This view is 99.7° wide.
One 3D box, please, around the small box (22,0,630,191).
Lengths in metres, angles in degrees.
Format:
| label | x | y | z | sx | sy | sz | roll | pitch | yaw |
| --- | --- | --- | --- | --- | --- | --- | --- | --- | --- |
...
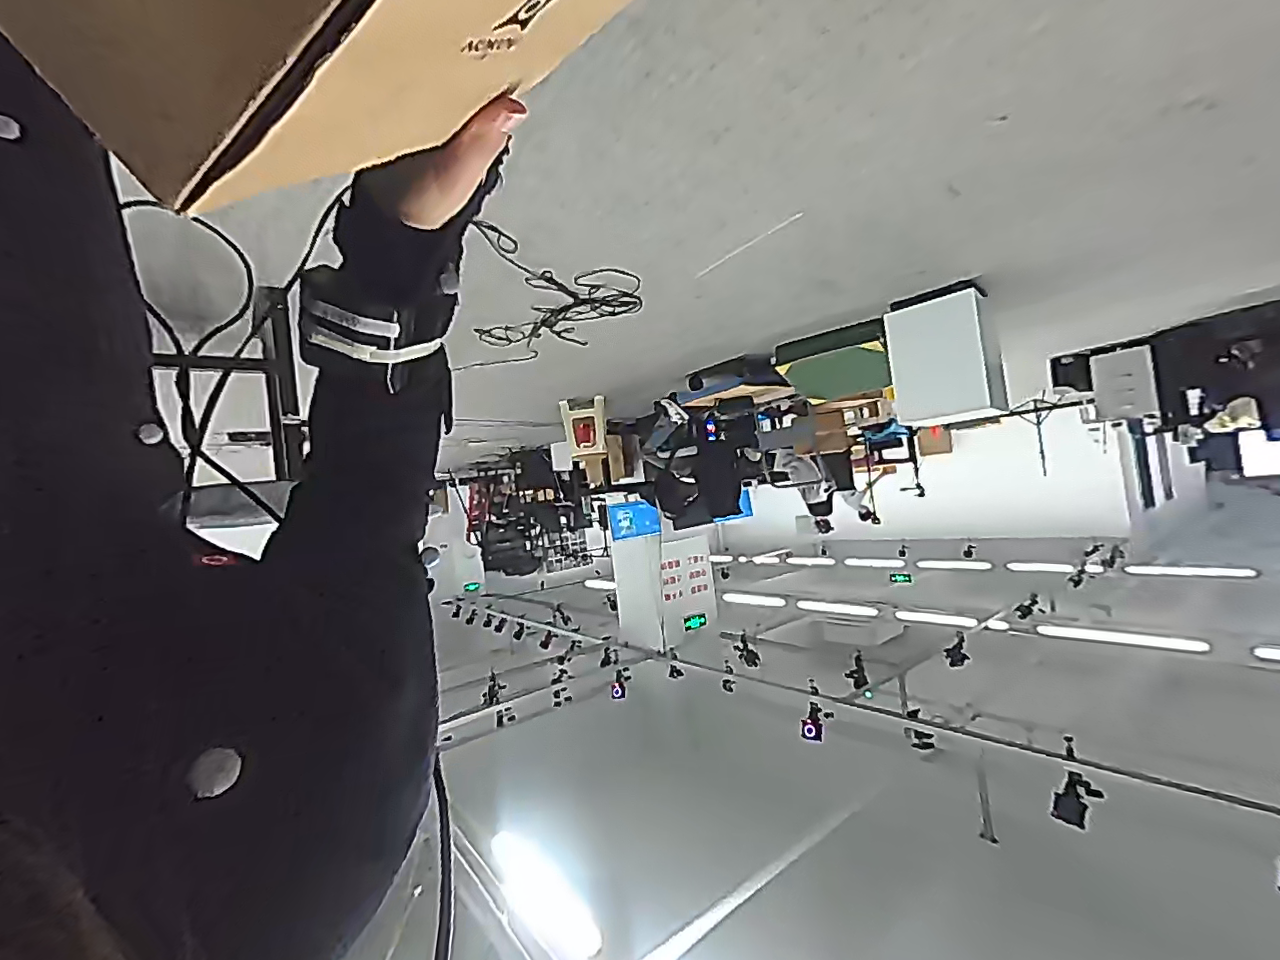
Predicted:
| label | x | y | z | sx | sy | sz | roll | pitch | yaw |
| --- | --- | --- | --- | --- | --- | --- | --- | --- | --- |
| small box | -0.081 | -0.213 | 0.137 | 0.179 | 0.176 | 0.168 | -15 | -148 | 31 |

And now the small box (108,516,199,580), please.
| label | x | y | z | sx | sy | sz | roll | pitch | yaw |
| --- | --- | --- | --- | --- | --- | --- | --- | --- | --- |
| small box | -1.453 | 0.198 | 1.623 | 0.168 | 0.176 | 0.179 | -6 | 178 | -28 |
